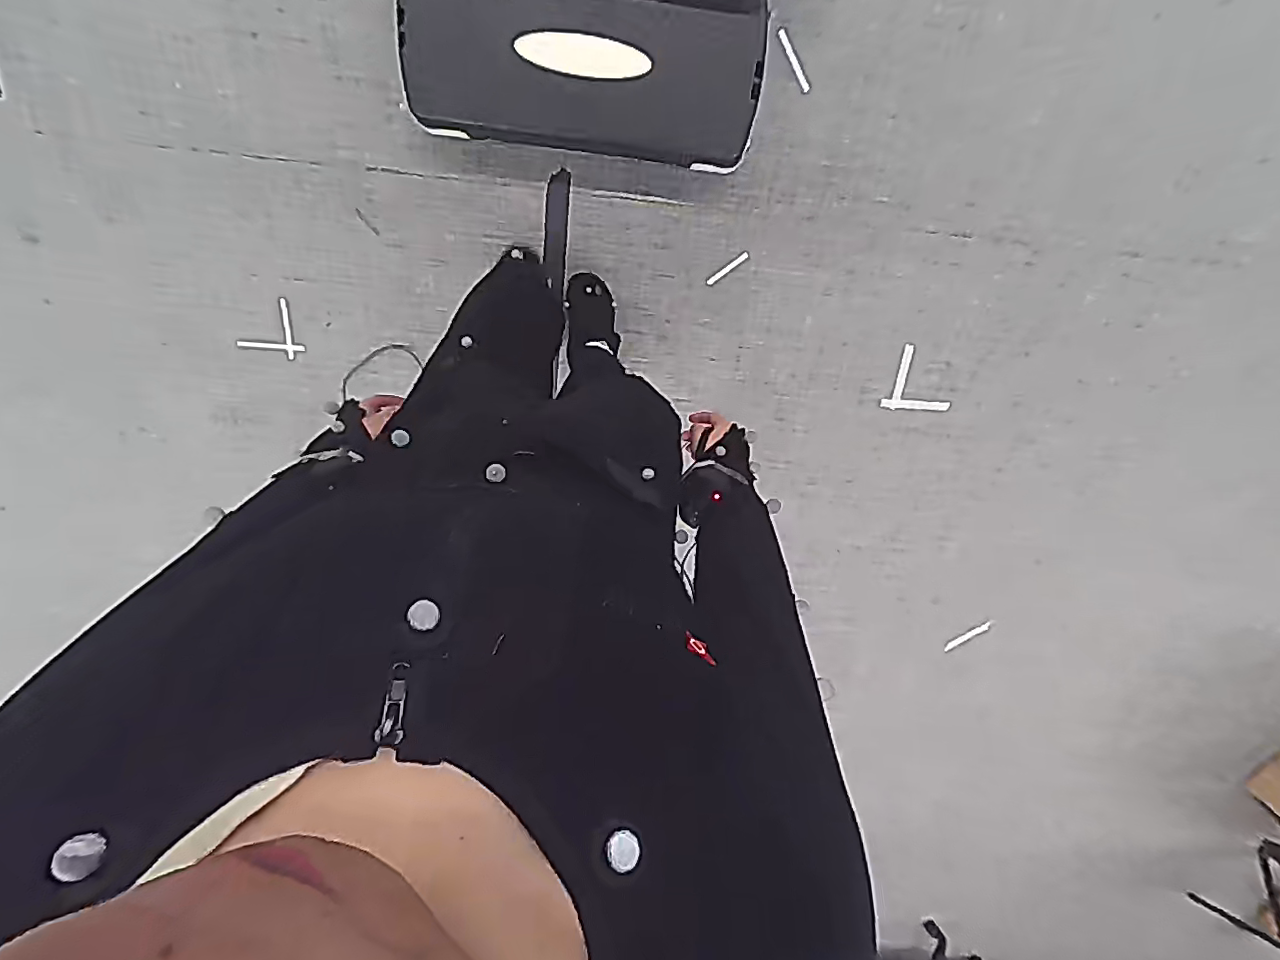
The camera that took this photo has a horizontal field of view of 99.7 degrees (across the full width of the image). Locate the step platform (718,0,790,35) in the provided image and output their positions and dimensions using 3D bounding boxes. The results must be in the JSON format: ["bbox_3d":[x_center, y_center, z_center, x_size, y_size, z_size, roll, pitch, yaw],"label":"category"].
[{"bbox_3d":[-0.036,-1.006,0.892,0.684,0.204,0.286,9,112,-6],"label":"step platform"}]
